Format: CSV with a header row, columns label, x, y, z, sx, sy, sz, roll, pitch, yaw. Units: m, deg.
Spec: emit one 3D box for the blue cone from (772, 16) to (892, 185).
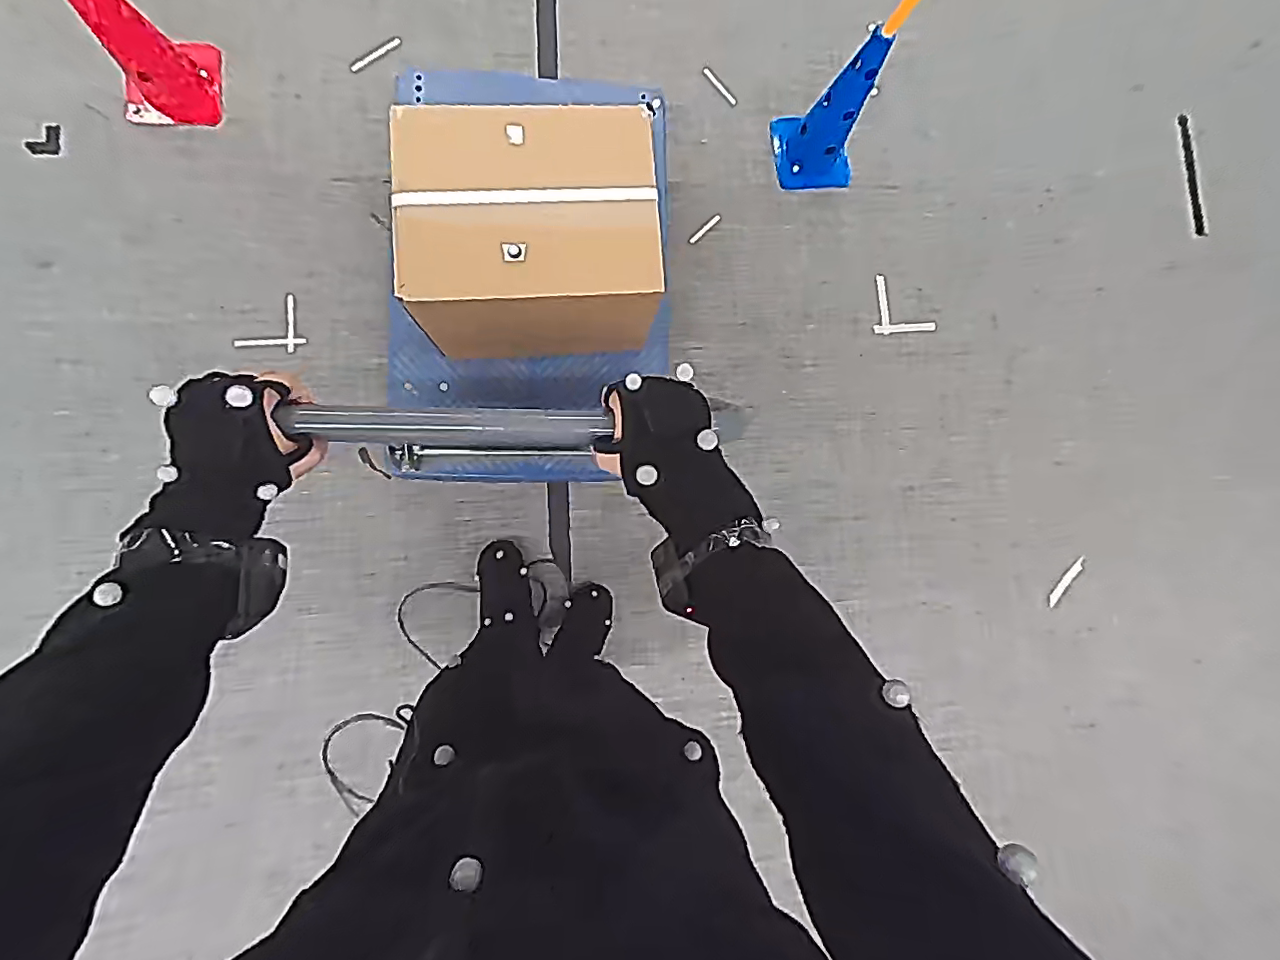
label,x,y,z,sx,sy,sz,roll,pitch,yaw
blue cone,0.470,-0.884,1.264,0.193,0.380,0.192,-6,85,-7
